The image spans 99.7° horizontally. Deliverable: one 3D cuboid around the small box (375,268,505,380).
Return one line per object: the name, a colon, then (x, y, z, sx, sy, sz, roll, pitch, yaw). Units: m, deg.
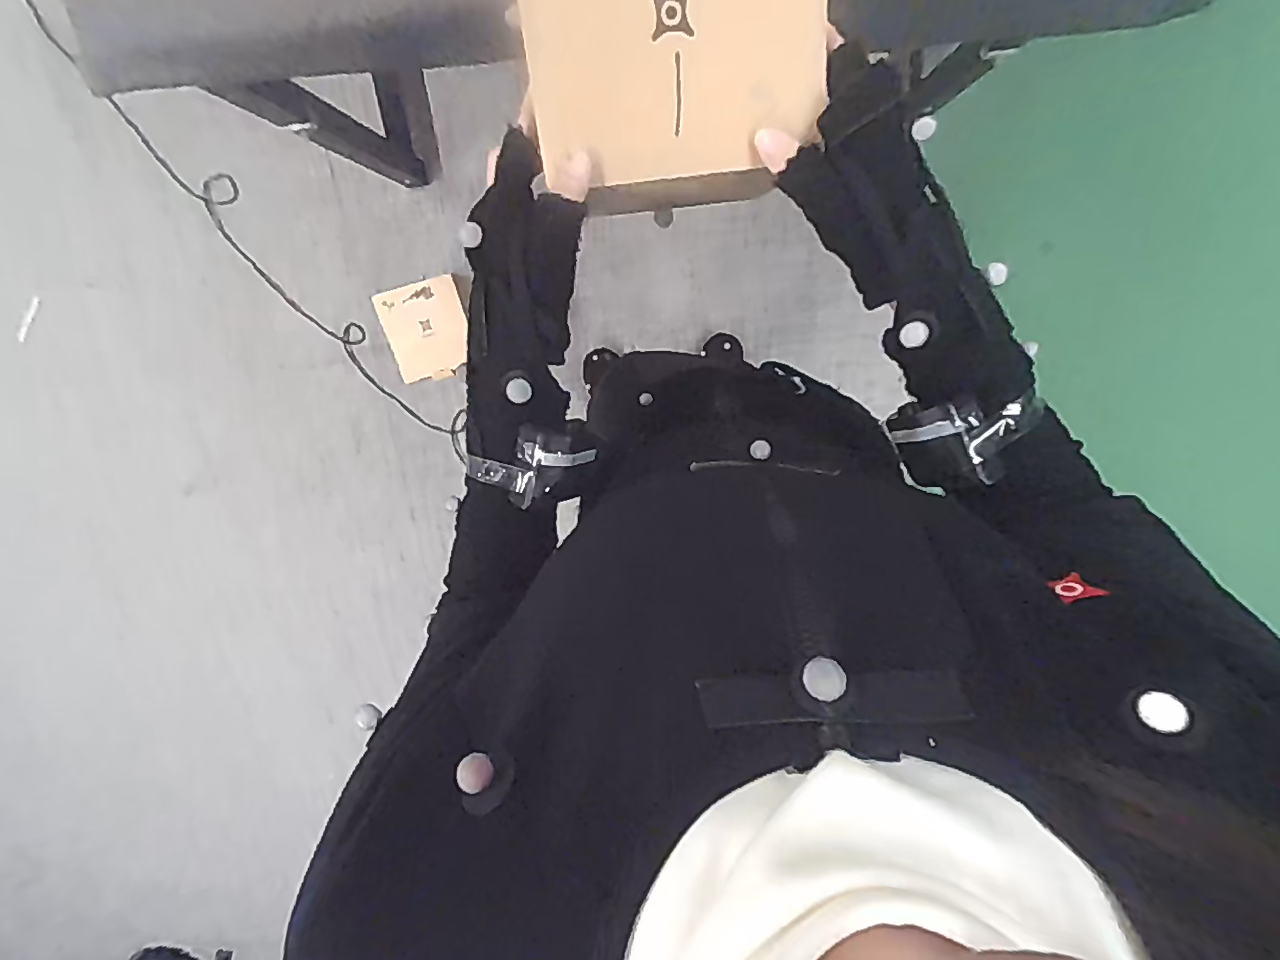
small box: (-0.402, -0.325, 1.124, 0.168, 0.176, 0.179, -16, 106, 8)

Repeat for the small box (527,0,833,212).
small box: (0.018, -0.290, 0.358, 0.168, 0.176, 0.179, -6, 112, 2)
